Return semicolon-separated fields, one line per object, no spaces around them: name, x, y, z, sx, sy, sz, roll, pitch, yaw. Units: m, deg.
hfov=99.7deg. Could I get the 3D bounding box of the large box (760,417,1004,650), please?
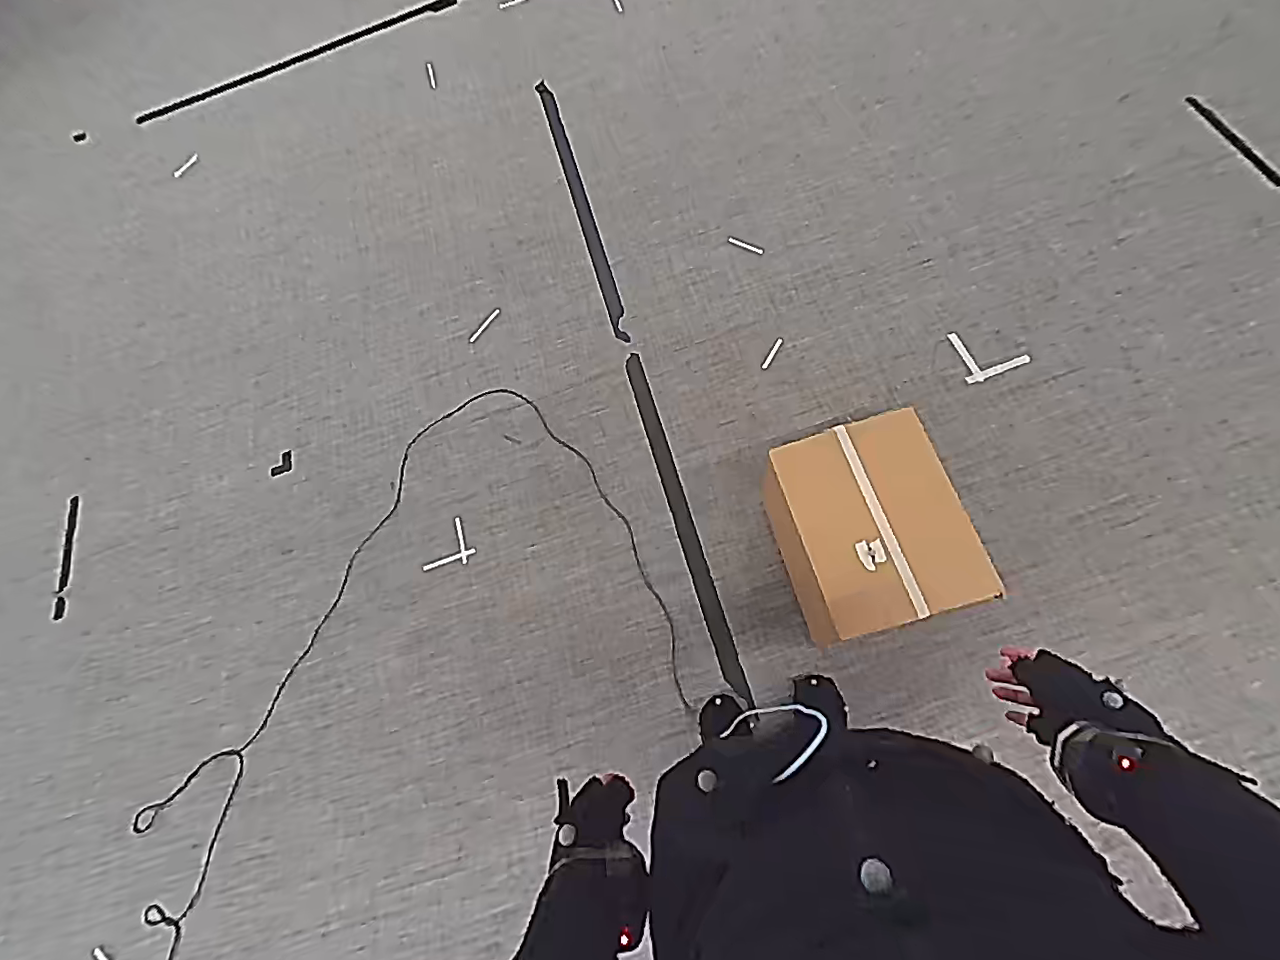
large box;0.490;0.135;1.204;0.320;0.320;0.408;-18;69;3
